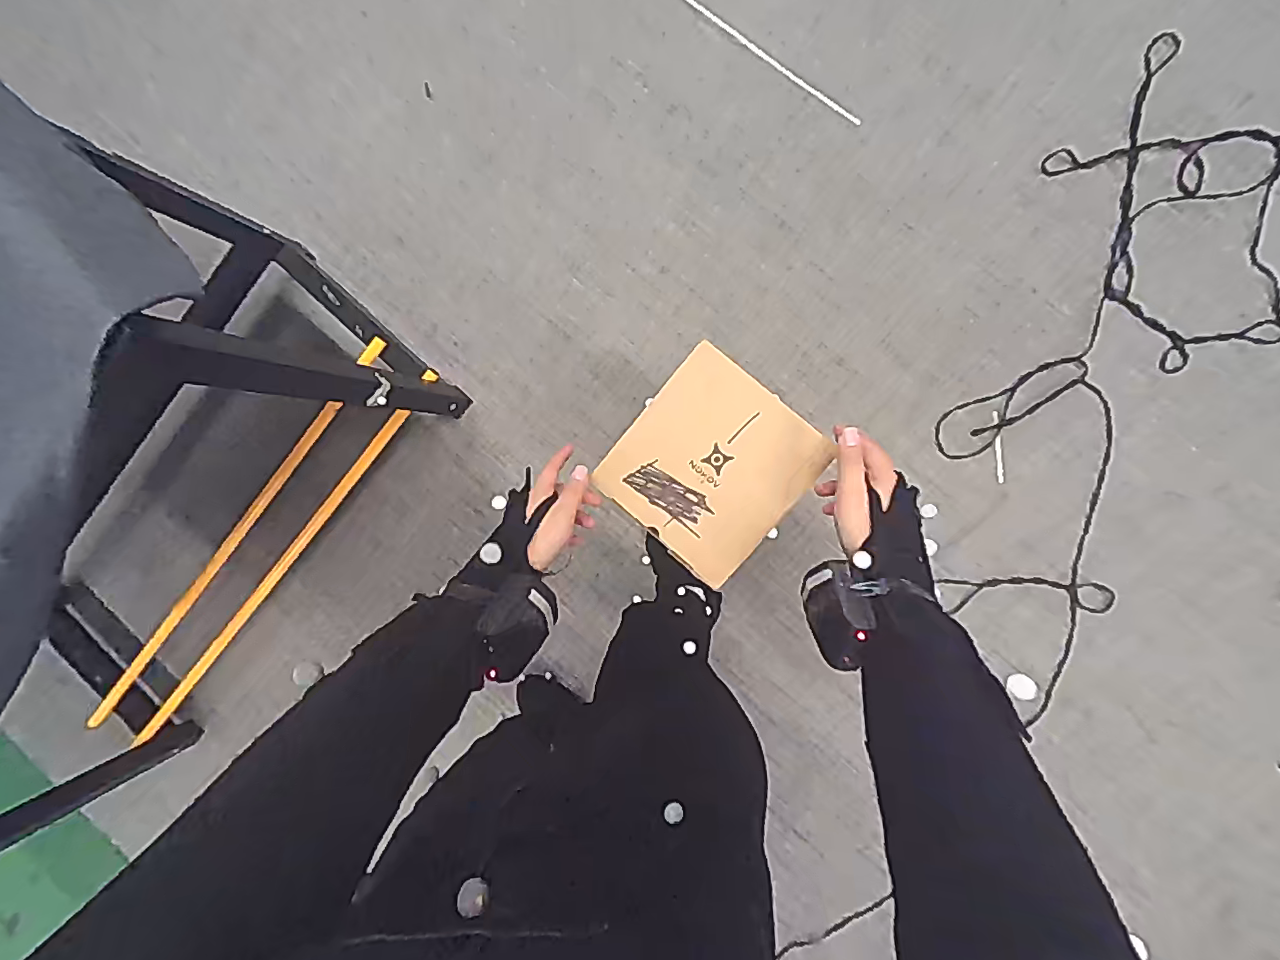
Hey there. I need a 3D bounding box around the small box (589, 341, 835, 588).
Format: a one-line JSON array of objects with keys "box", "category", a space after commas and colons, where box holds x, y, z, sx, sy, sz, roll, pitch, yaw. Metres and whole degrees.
[{"box": [0.075, -0.016, 0.583, 0.168, 0.176, 0.179, 41, 96, 4], "category": "small box"}]
